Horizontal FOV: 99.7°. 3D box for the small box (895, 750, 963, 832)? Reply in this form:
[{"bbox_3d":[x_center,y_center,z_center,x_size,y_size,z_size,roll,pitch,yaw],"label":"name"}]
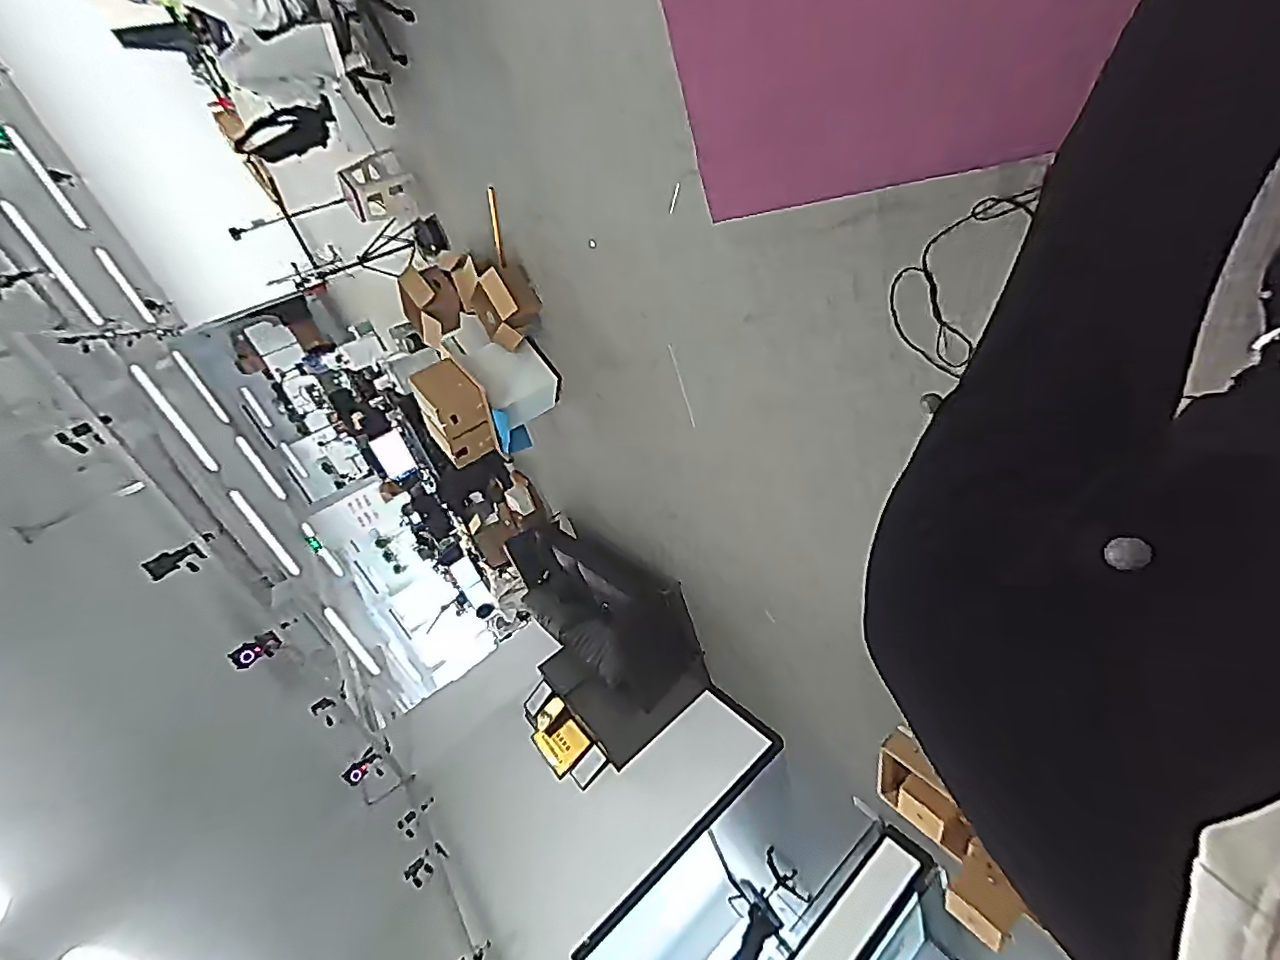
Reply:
[{"bbox_3d":[1.091,1.170,2.043,0.168,0.176,0.179,28,142,45],"label":"small box"}]

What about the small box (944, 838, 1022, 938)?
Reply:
[{"bbox_3d":[1.132,1.343,1.785,0.168,0.176,0.179,25,142,47],"label":"small box"}]
